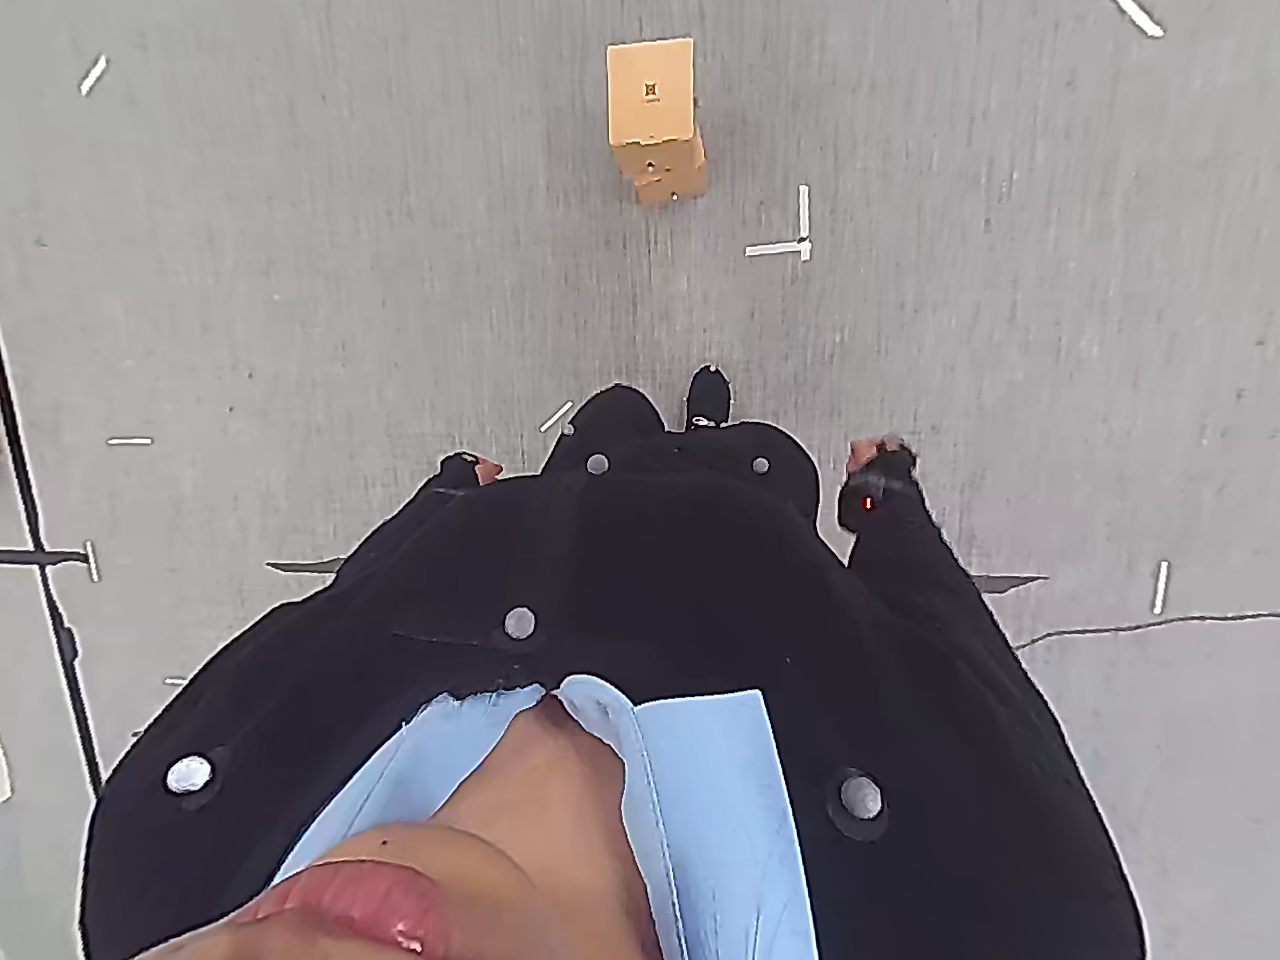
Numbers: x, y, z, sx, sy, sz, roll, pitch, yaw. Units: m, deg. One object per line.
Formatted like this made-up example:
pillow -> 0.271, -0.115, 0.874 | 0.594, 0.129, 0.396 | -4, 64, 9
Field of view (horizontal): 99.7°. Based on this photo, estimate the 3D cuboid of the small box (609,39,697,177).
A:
small box -> 0.031, -0.747, 1.103 | 0.168, 0.176, 0.179 | 0, 100, 7

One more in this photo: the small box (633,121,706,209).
small box -> 0.057, -0.768, 1.263 | 0.168, 0.176, 0.179 | -12, 98, 9
